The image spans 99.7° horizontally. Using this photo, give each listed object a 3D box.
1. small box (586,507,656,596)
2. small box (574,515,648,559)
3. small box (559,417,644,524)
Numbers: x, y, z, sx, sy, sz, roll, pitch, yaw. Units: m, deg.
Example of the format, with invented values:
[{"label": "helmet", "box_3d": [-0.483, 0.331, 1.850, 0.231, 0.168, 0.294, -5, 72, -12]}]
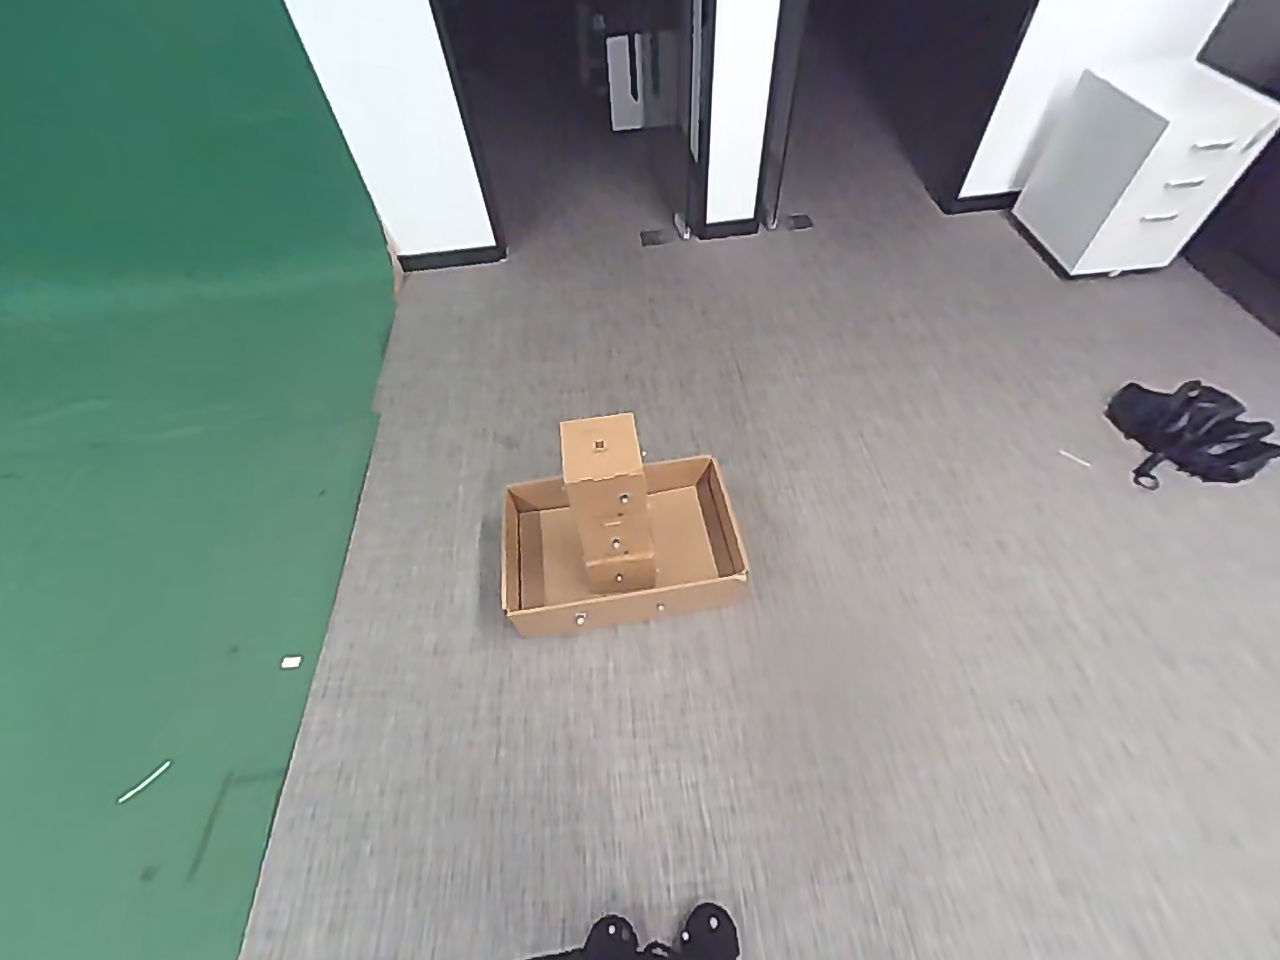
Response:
[{"label": "small box", "box_3d": [-0.055, 0.195, 1.463, 0.179, 0.176, 0.168, -9, 53, -4]}, {"label": "small box", "box_3d": [-0.074, 0.083, 1.345, 0.168, 0.176, 0.179, -8, 53, -2]}, {"label": "small box", "box_3d": [-0.084, -0.014, 1.215, 0.168, 0.176, 0.179, -8, 52, -3]}]
